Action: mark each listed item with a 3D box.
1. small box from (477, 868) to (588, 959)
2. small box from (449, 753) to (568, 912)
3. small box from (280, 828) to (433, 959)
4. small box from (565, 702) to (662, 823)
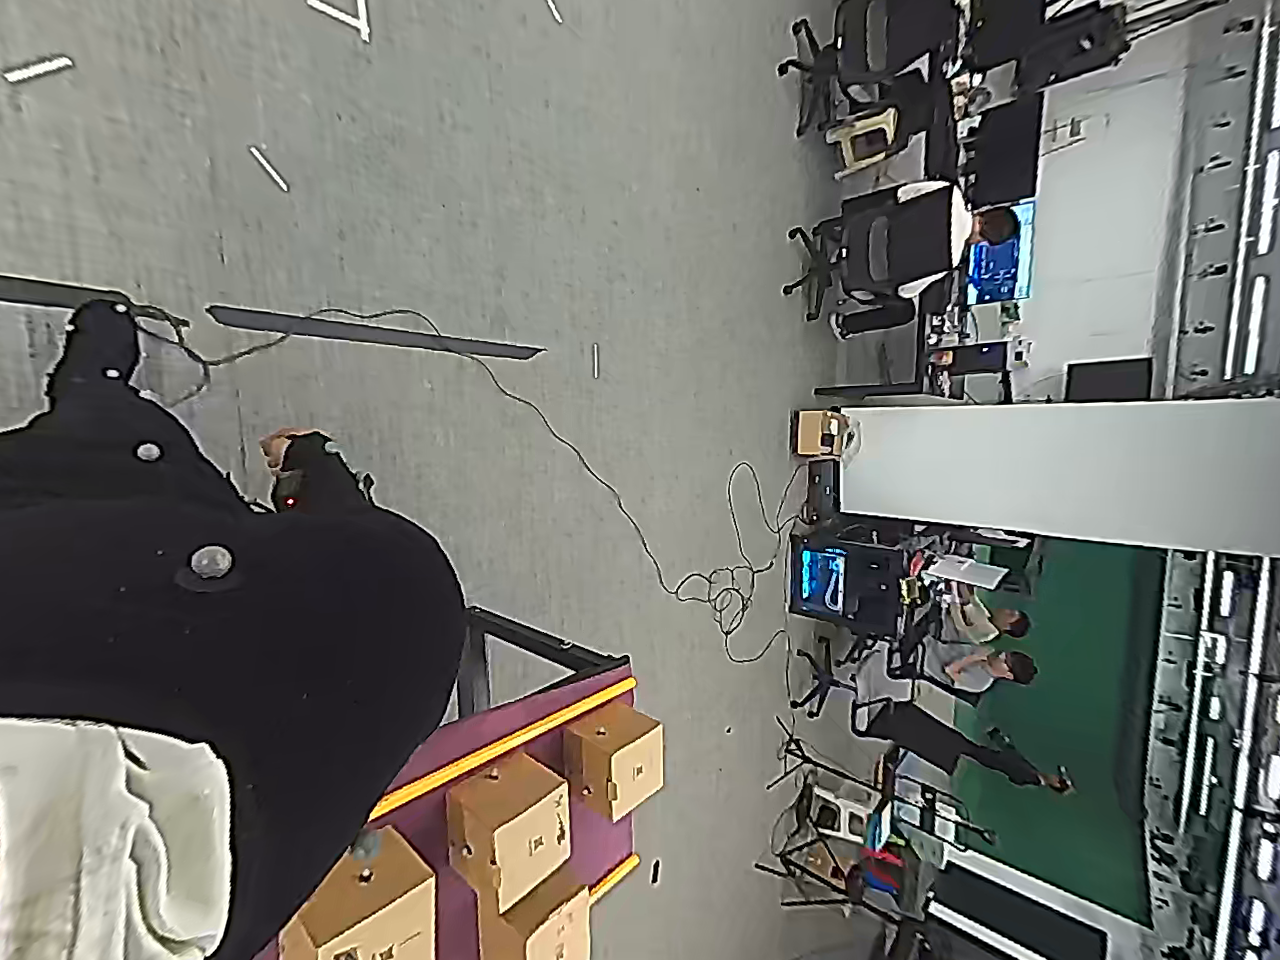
[{"bbox_3d":[-0.226,0.942,1.135,0.168,0.176,0.179,-6,96,-49],"label":"small box"},{"bbox_3d":[-0.263,0.681,1.070,0.179,0.176,0.168,-8,100,-47],"label":"small box"},{"bbox_3d":[-0.451,0.706,0.857,0.179,0.176,0.168,-3,98,-50],"label":"small box"},{"bbox_3d":[-0.066,0.661,1.289,0.179,0.176,0.168,-7,99,-46],"label":"small box"}]
